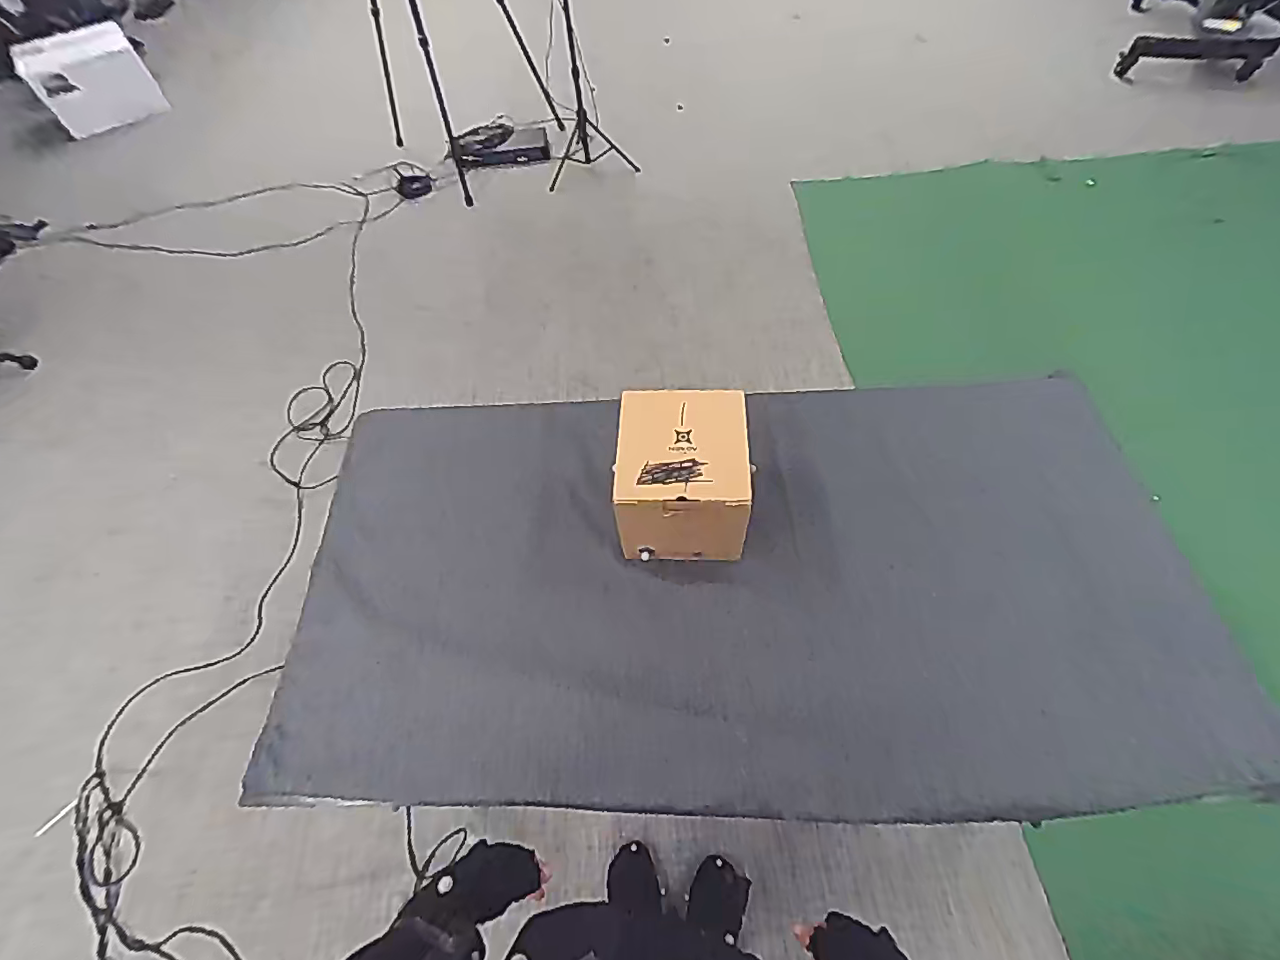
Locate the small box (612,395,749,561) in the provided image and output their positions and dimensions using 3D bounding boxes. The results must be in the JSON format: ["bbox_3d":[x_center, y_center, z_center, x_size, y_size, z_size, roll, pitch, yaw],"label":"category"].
[{"bbox_3d":[0.058,0.002,0.747,0.168,0.176,0.179,1,57,4],"label":"small box"}]
